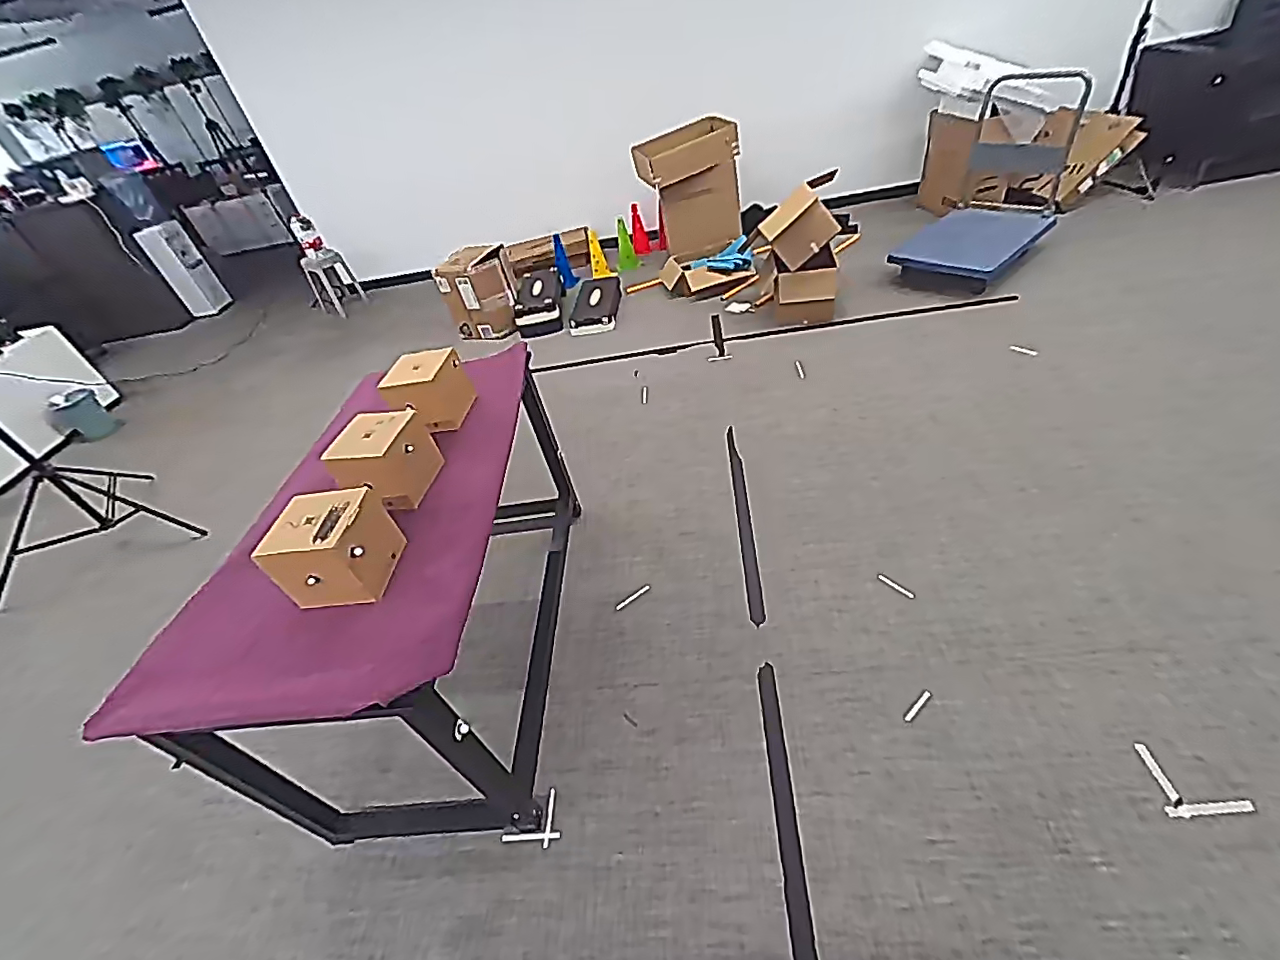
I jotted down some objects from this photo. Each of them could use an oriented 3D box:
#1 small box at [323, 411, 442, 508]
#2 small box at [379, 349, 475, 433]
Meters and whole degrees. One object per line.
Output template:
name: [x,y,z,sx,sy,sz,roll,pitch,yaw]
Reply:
small box: [-0.610,-0.045,1.309,0.168,0.176,0.179,-2,42,13]
small box: [-0.591,-0.245,1.531,0.168,0.176,0.179,-6,41,11]
